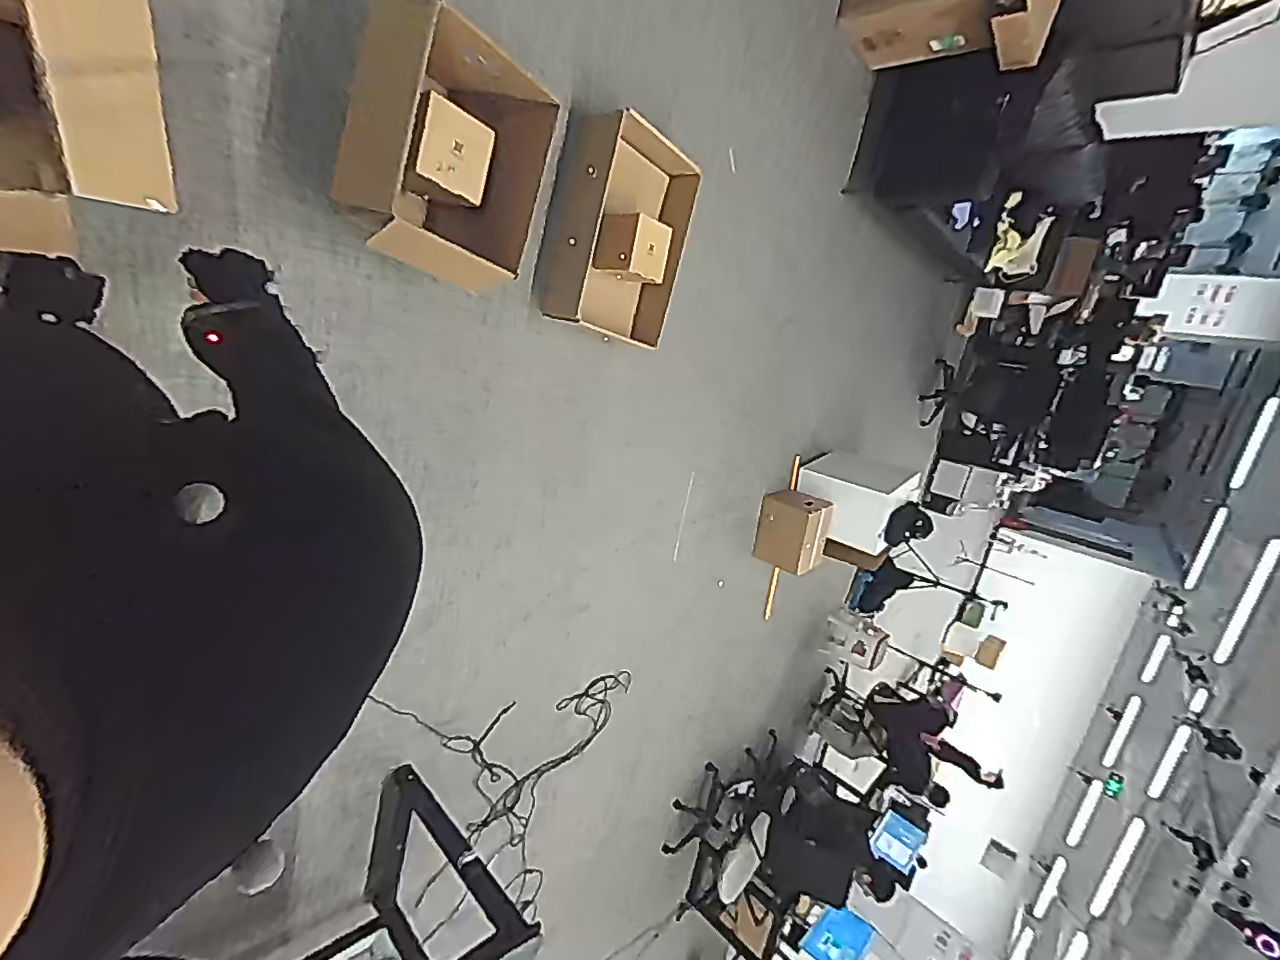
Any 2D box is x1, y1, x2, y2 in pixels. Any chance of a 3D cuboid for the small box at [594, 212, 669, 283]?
[{"bbox_3d":[-0.031,-0.758,1.769,0.168,0.176,0.179,-3,109,-49],"label":"small box"}]
